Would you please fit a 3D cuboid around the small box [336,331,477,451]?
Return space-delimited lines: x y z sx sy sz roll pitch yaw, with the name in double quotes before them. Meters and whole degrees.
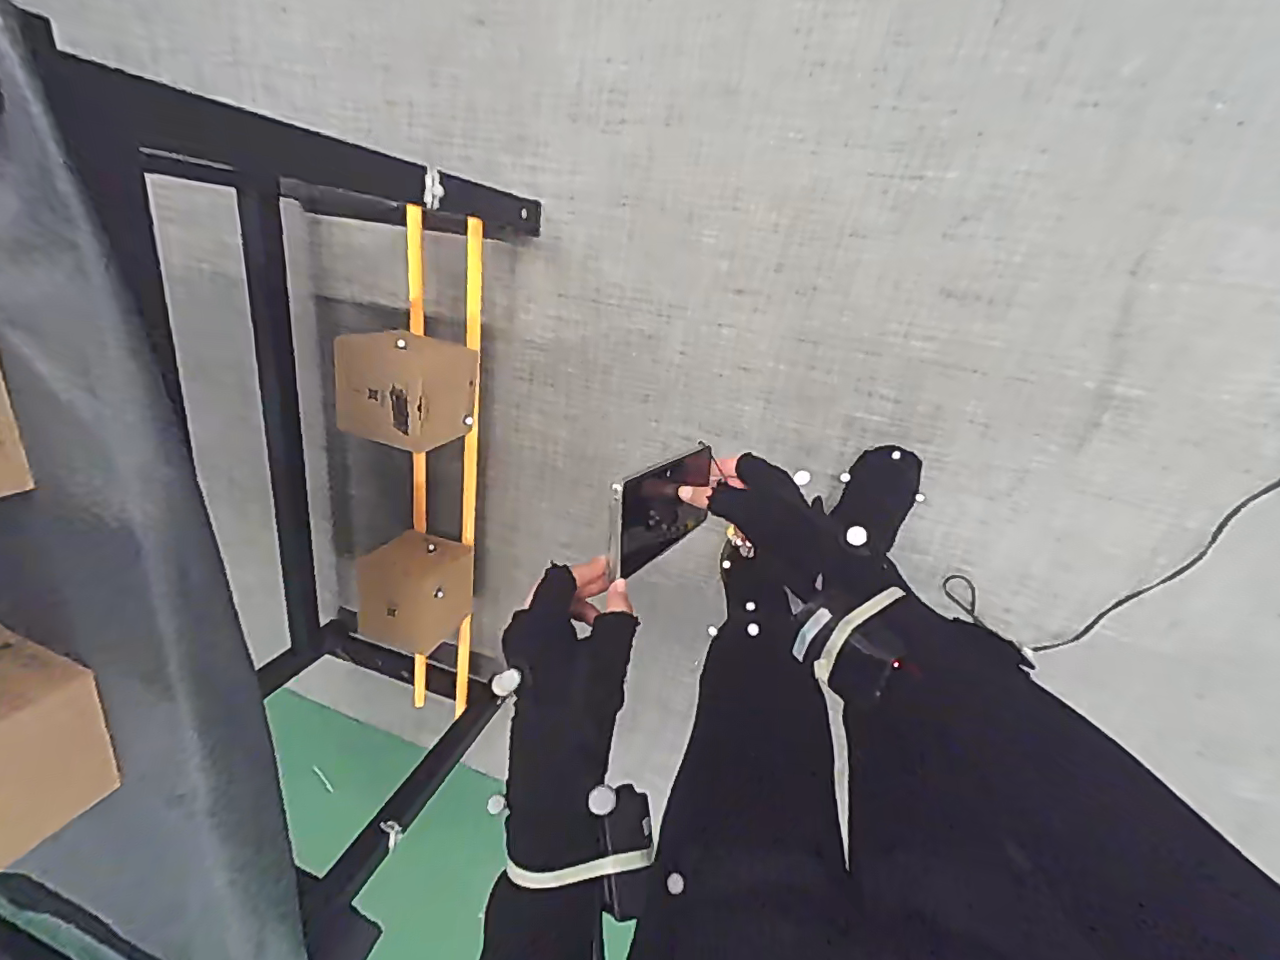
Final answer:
"small box" -0.418 -0.171 0.987 0.179 0.176 0.168 17 112 12

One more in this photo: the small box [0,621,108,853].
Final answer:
"small box" -0.690 0.275 0.540 0.168 0.176 0.179 17 113 12
